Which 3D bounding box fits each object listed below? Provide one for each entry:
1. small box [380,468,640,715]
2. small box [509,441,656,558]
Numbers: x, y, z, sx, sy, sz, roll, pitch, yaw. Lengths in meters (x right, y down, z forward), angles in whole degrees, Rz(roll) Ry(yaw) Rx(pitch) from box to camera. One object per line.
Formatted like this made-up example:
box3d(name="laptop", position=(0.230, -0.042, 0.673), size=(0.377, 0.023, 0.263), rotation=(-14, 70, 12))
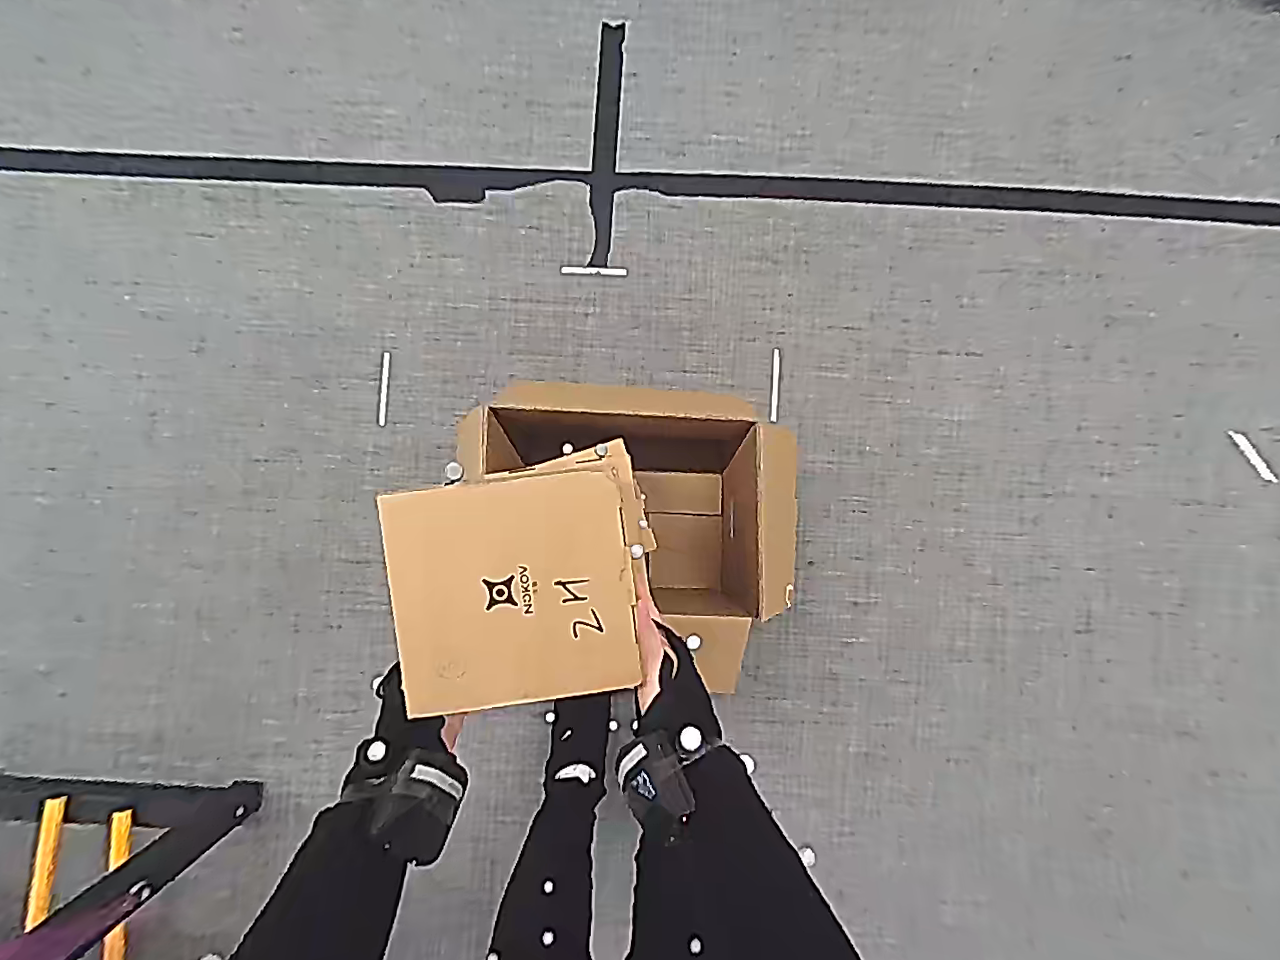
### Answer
box3d(name="small box", position=(-0.097, 0.080, 0.474), size=(0.179, 0.176, 0.168), rotation=(-7, 93, -3))
box3d(name="small box", position=(-0.087, 0.047, 0.840), size=(0.179, 0.176, 0.168), rotation=(-18, 91, -5))
